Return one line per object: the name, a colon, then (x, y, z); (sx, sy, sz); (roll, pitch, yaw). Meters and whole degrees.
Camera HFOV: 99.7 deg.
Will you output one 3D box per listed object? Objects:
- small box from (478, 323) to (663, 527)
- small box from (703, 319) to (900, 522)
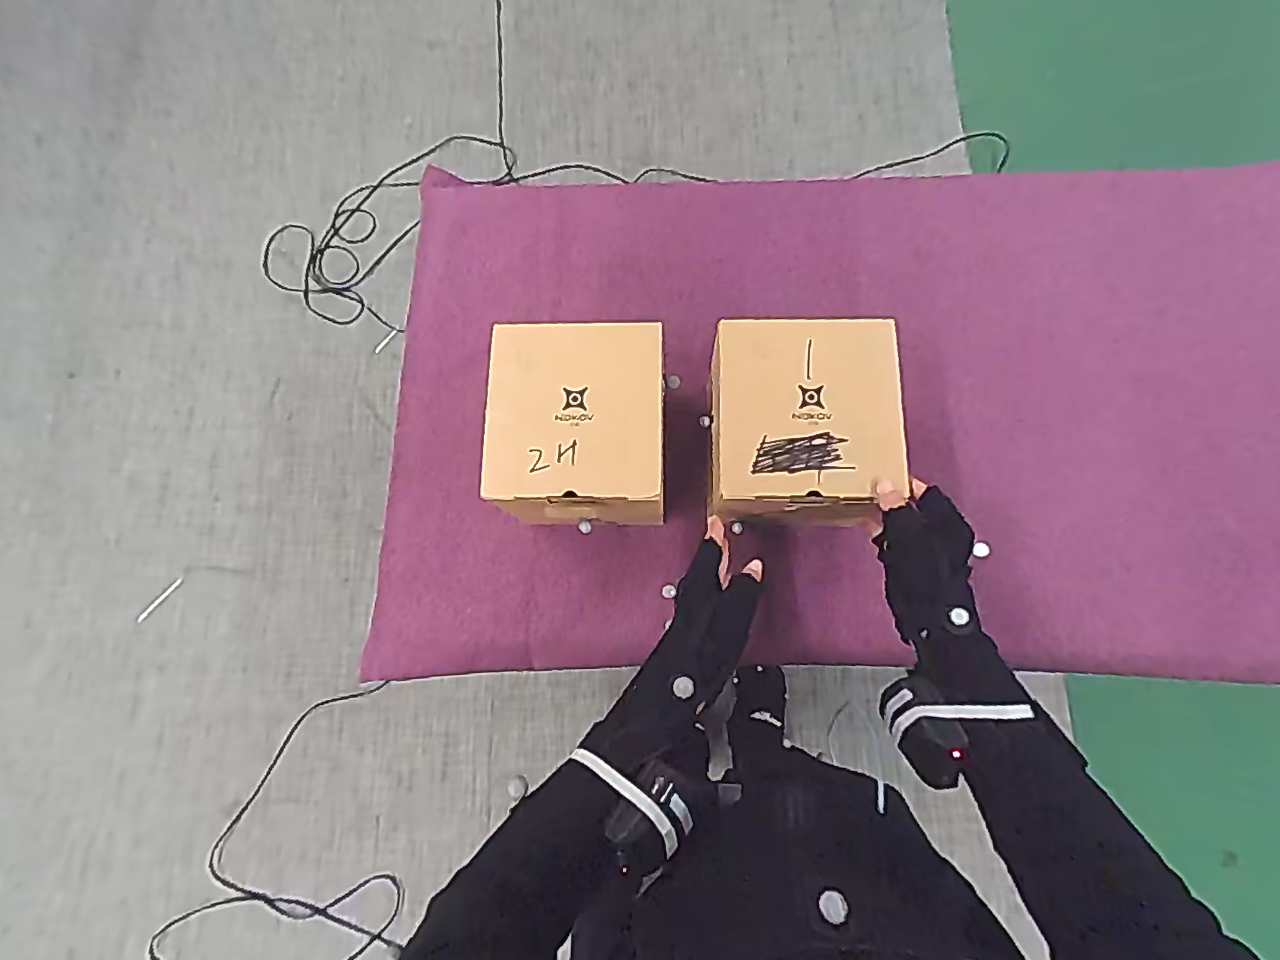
small box: (-0.060, -0.049, 0.585); (0.168, 0.176, 0.179); (1, 77, 4)
small box: (0.156, -0.051, 0.574); (0.168, 0.176, 0.179); (1, 77, 3)
